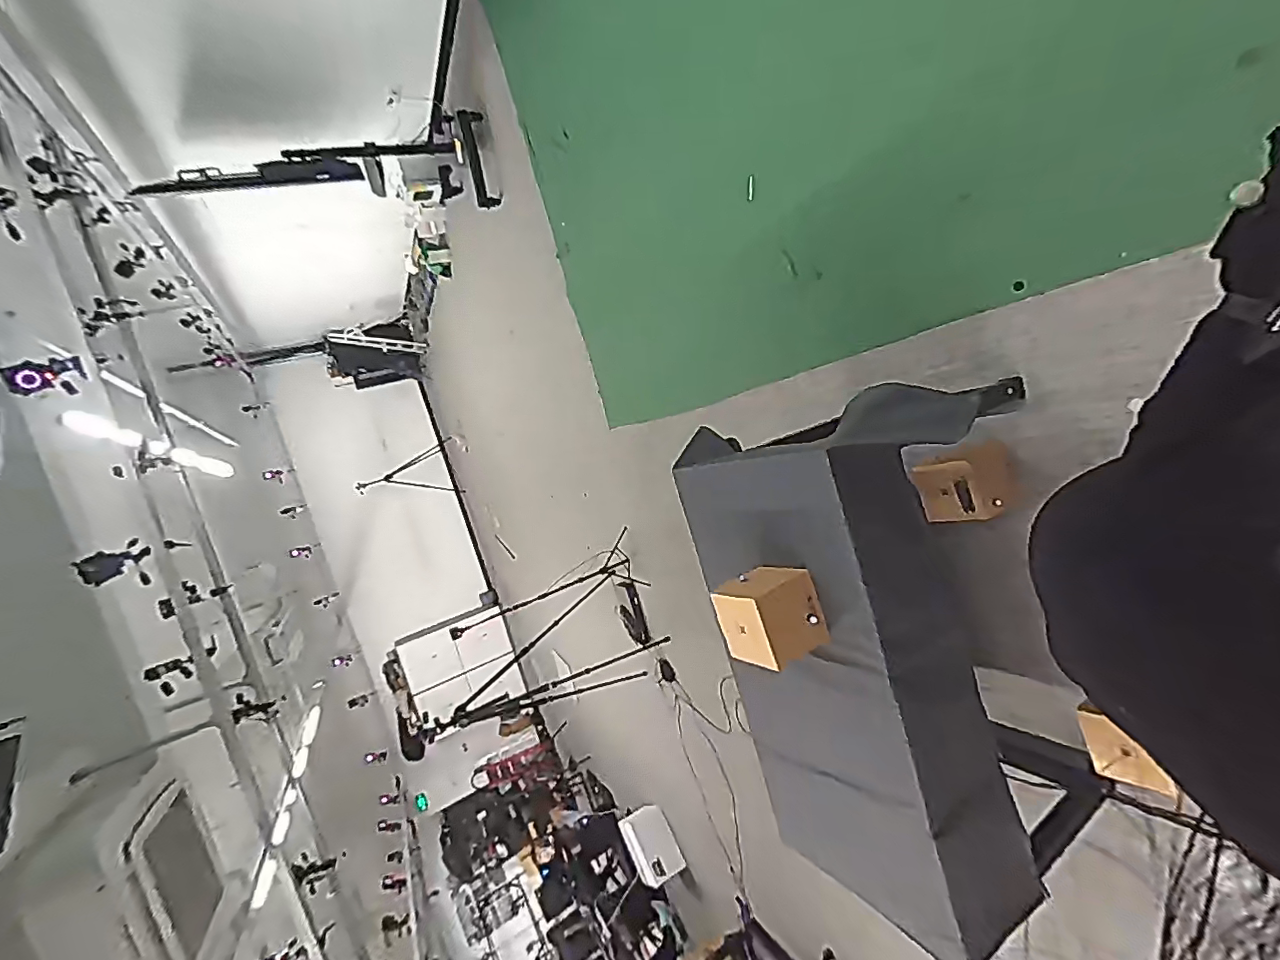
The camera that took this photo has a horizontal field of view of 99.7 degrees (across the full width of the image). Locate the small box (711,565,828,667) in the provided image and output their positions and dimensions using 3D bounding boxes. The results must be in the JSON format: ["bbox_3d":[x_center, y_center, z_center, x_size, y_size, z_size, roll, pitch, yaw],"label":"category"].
[{"bbox_3d":[0.298,0.304,1.252,0.179,0.176,0.168,-13,97,64],"label":"small box"}]
